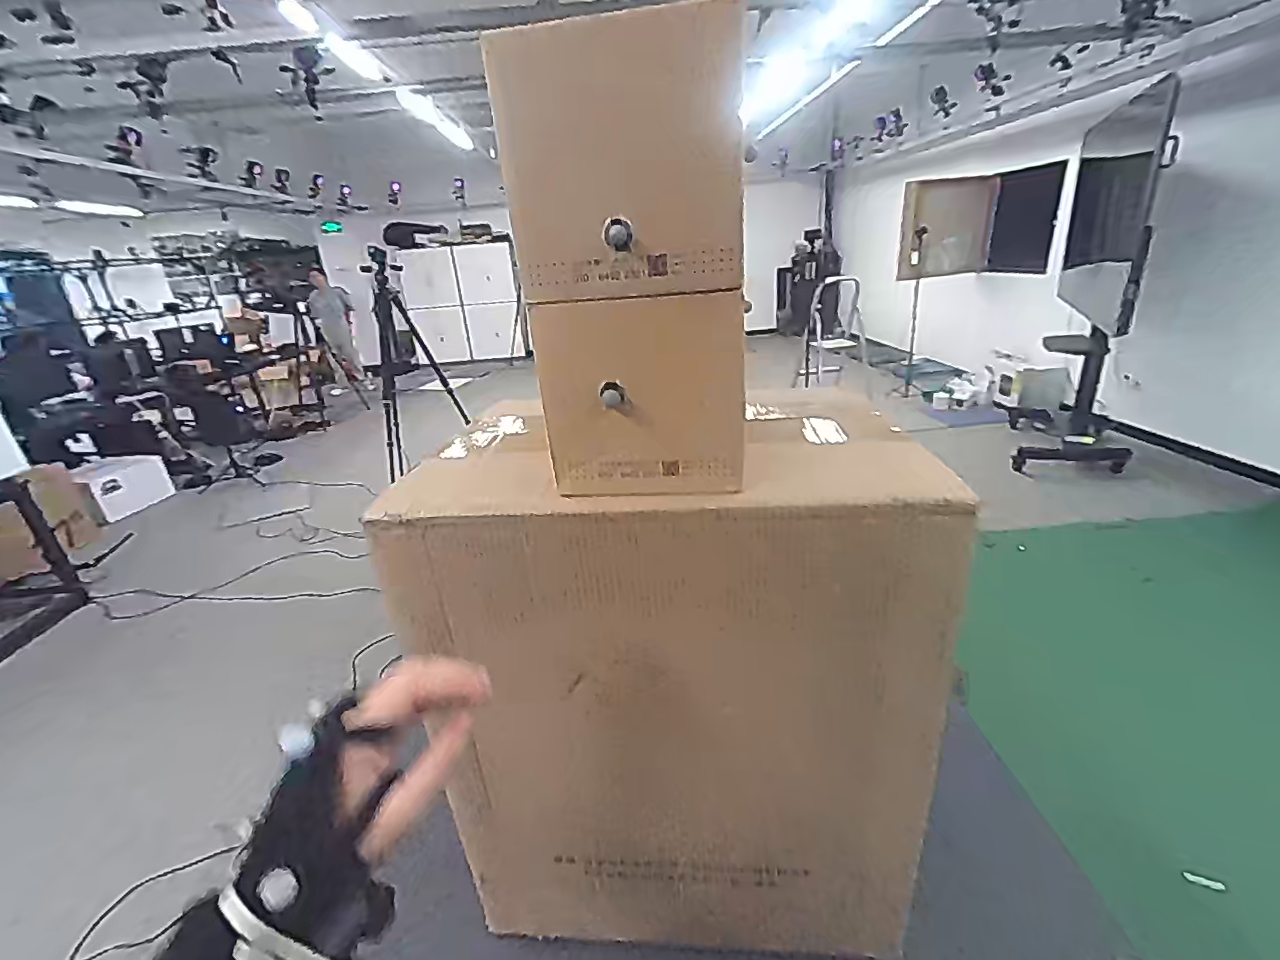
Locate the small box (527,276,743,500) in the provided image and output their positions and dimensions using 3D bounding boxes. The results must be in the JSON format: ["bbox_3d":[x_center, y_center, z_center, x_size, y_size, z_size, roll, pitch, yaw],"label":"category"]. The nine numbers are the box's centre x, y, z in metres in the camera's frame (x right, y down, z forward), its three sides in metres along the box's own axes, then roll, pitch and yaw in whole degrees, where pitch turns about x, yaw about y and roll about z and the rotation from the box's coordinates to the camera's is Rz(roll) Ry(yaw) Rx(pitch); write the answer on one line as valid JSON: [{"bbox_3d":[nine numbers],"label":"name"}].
[{"bbox_3d":[0.010,-0.089,0.511,0.168,0.176,0.179,-1,25,8],"label":"small box"}]
